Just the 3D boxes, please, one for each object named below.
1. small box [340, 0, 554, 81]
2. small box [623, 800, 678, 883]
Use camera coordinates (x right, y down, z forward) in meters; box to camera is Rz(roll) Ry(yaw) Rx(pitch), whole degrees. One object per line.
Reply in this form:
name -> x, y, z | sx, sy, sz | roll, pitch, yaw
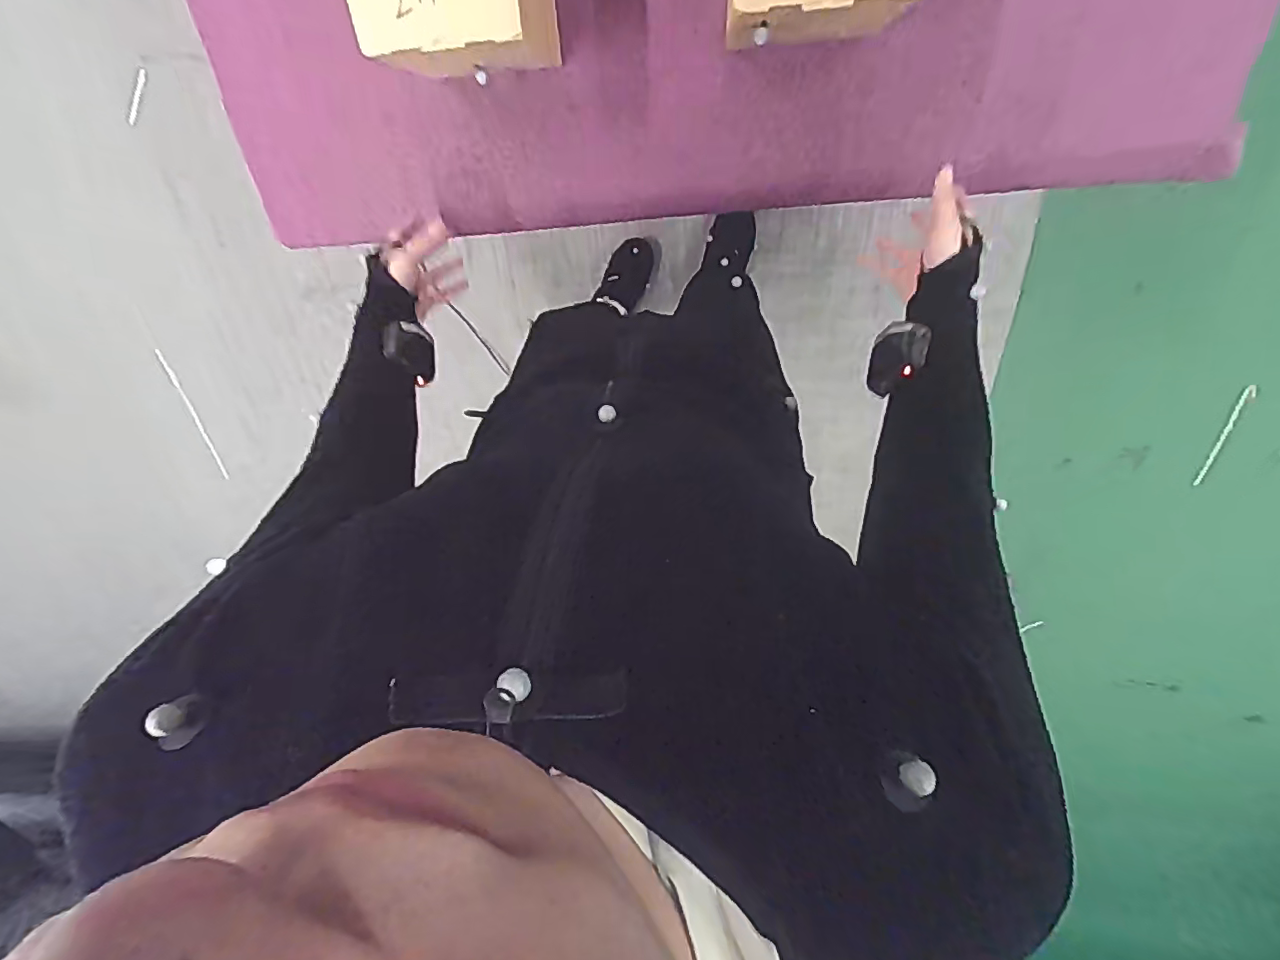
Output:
small box -> -0.191, -0.521, 0.537 | 0.168, 0.176, 0.179 | 0, 120, 6
small box -> 0.036, 1.192, 1.791 | 0.168, 0.176, 0.179 | 6, 122, 3
